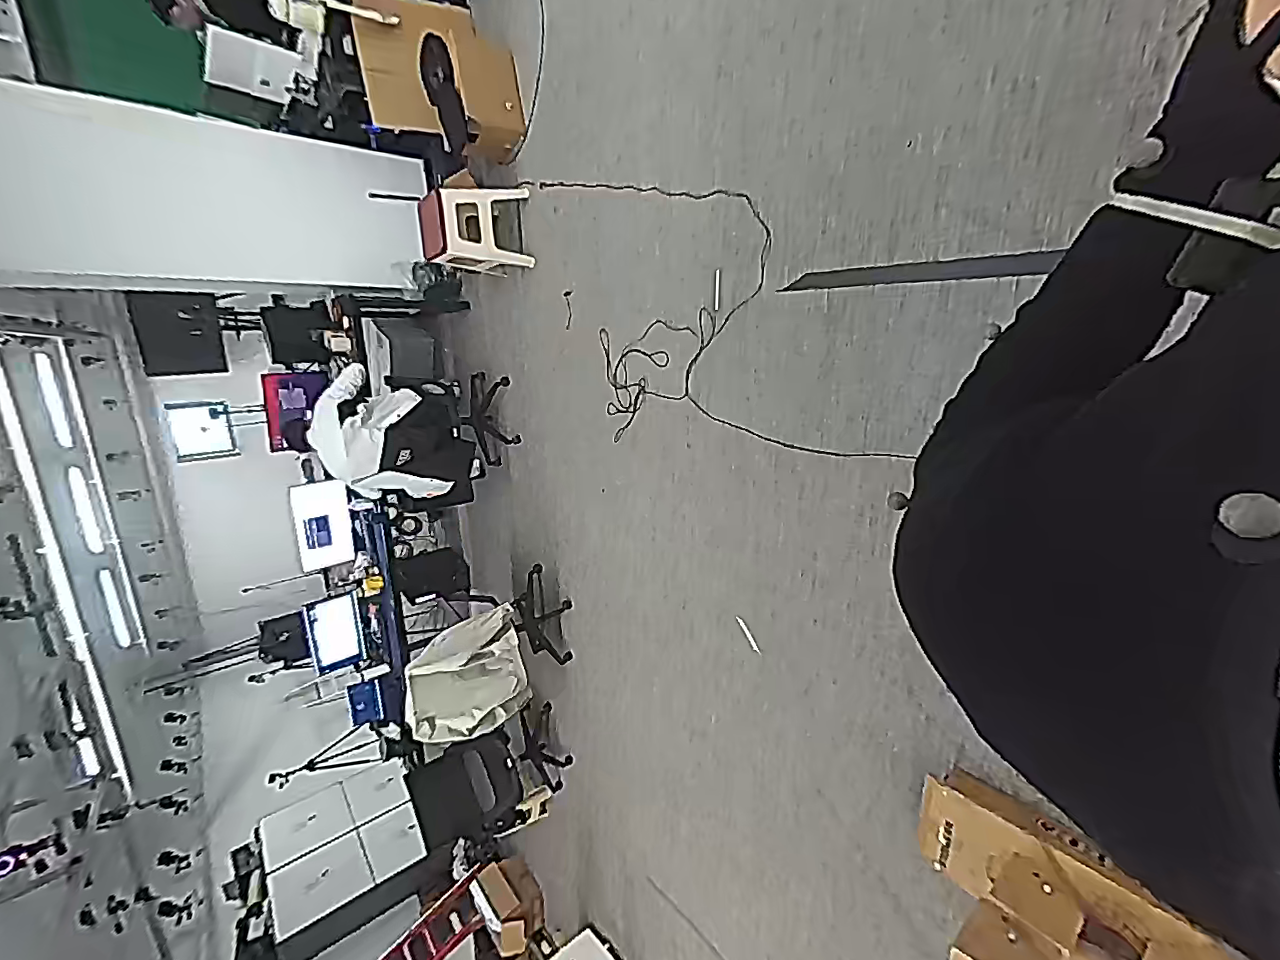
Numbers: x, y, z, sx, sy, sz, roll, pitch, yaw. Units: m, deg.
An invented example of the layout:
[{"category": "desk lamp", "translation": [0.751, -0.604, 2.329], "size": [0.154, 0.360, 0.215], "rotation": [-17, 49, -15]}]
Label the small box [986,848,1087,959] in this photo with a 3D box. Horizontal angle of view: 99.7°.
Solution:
[{"category": "small box", "translation": [0.956, 1.065, 1.323], "size": [0.168, 0.176, 0.179], "rotation": [22, 117, 47]}]

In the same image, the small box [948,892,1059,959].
[{"category": "small box", "translation": [0.824, 1.109, 1.232], "size": [0.168, 0.176, 0.179], "rotation": [16, 113, 49]}]

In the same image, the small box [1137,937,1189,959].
[{"category": "small box", "translation": [1.124, 1.120, 1.120], "size": [0.168, 0.176, 0.179], "rotation": [19, 115, 49]}]
